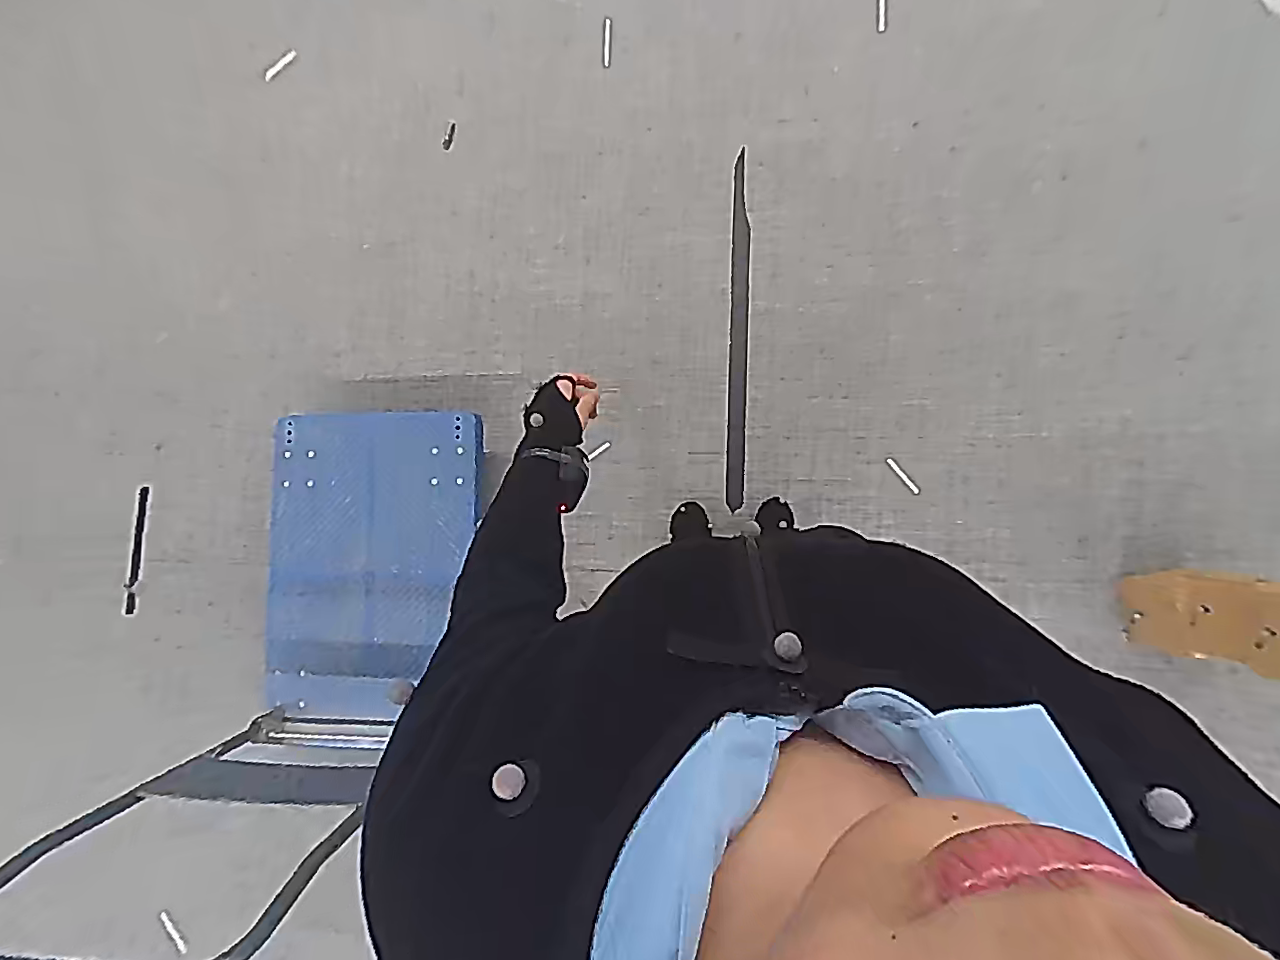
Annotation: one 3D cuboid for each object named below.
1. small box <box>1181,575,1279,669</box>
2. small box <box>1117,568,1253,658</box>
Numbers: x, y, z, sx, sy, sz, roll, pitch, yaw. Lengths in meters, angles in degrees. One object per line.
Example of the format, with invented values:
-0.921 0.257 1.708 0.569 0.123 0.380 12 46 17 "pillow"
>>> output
1.293 0.290 1.124 0.179 0.176 0.168 1 86 7 "small box"
1.305 0.309 1.285 0.179 0.176 0.168 -11 84 5 "small box"
